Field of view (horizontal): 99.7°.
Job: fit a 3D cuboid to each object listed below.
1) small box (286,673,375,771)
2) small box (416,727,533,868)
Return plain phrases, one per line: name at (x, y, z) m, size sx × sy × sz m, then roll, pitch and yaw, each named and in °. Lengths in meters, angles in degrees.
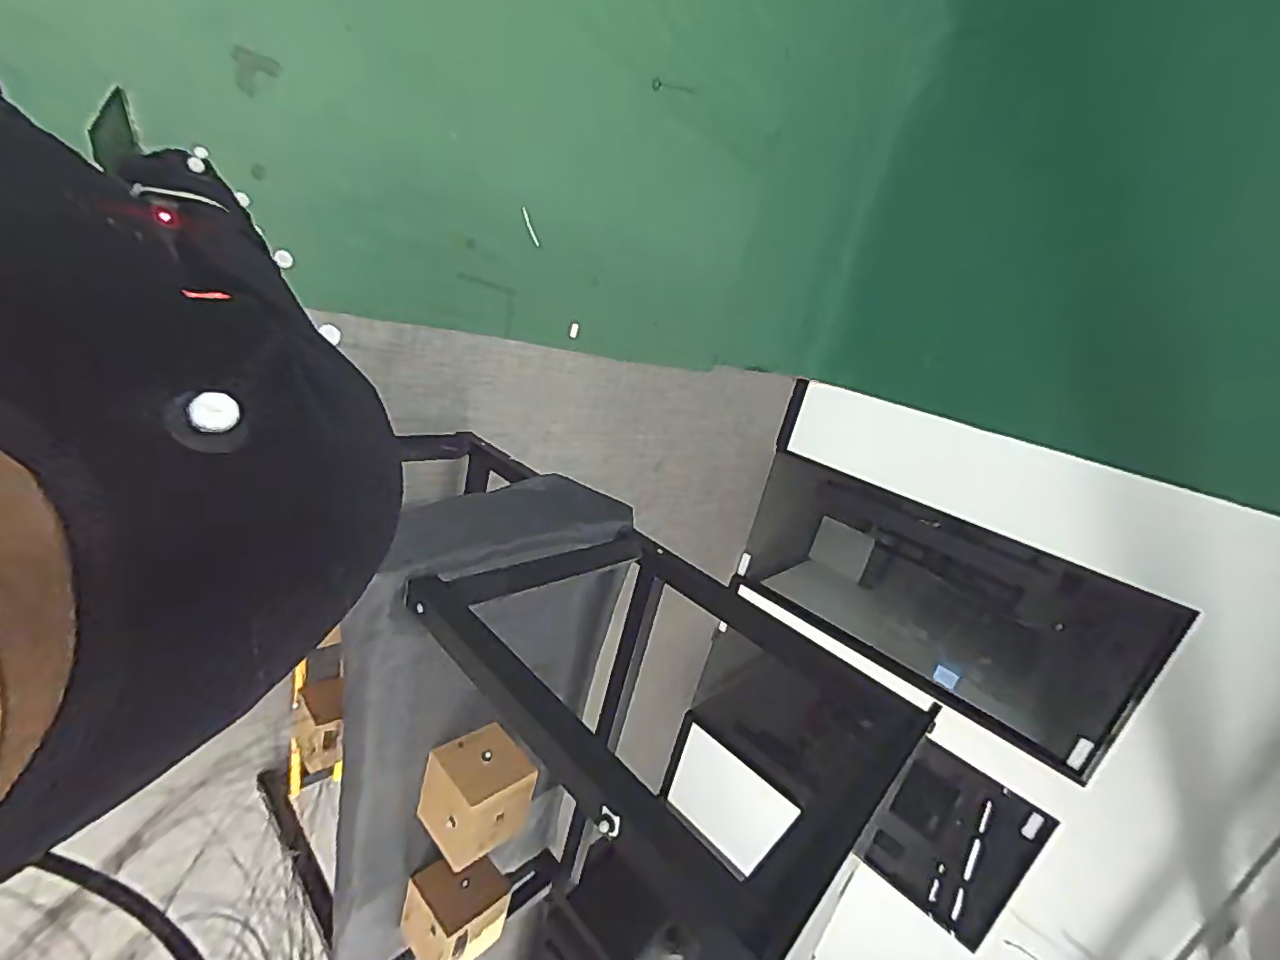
small box at (-0.907, 0.697, 1.579) m, size 0.179 × 0.176 × 0.168 m, roll -2°, pitch 114°, yaw -50°
small box at (-0.360, 0.665, 1.164) m, size 0.168 × 0.176 × 0.179 m, roll -3°, pitch 114°, yaw -50°
